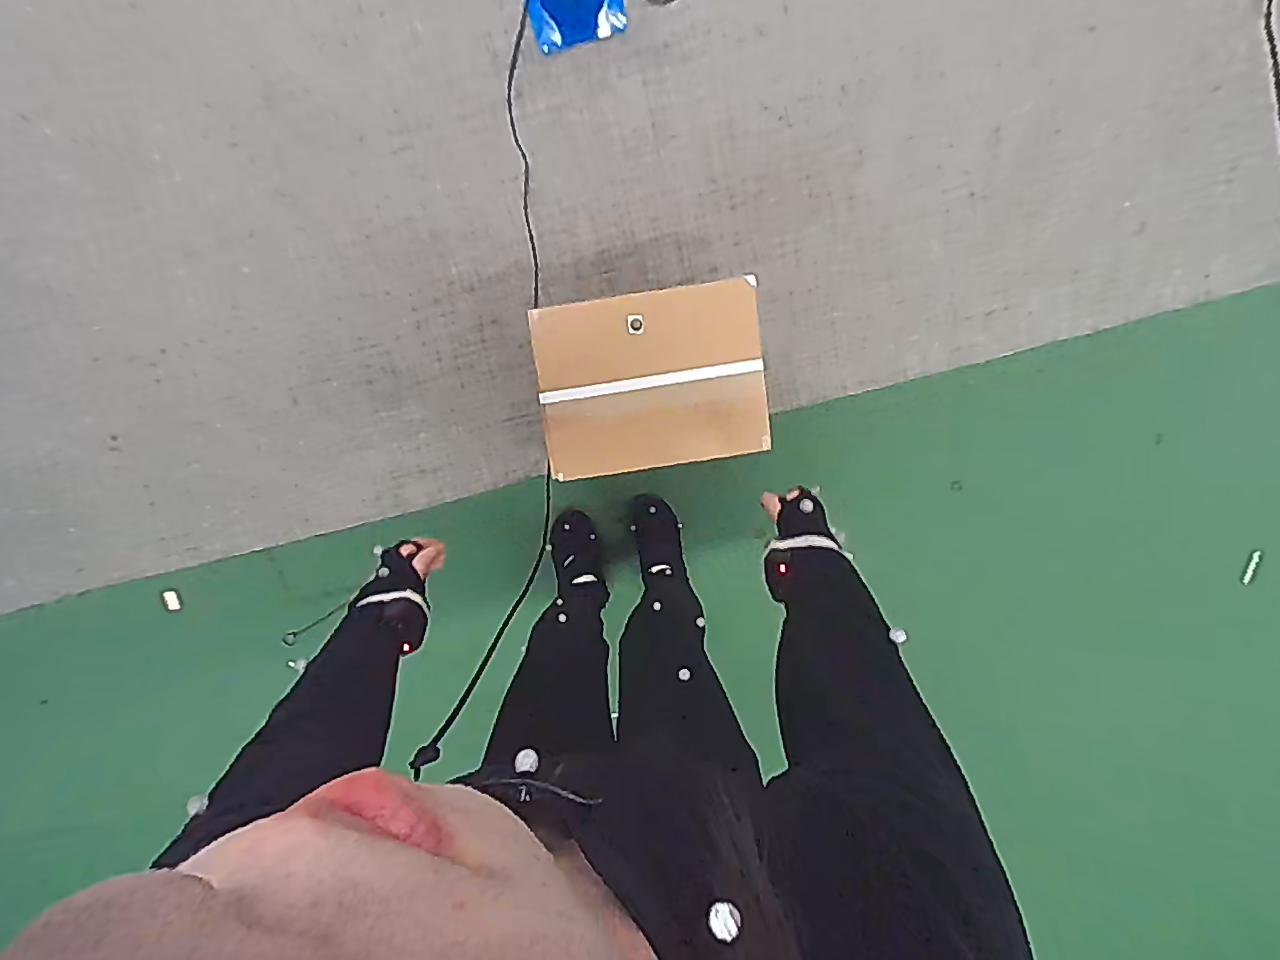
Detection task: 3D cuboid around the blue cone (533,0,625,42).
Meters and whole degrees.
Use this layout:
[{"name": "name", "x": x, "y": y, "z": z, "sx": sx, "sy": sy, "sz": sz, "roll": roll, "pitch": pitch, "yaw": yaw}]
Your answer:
[{"name": "blue cone", "x": -0.139, "y": -0.991, "z": 0.946, "sx": 0.193, "sy": 0.380, "sz": 0.192, "roll": -17, "pitch": 99, "yaw": 3}]
